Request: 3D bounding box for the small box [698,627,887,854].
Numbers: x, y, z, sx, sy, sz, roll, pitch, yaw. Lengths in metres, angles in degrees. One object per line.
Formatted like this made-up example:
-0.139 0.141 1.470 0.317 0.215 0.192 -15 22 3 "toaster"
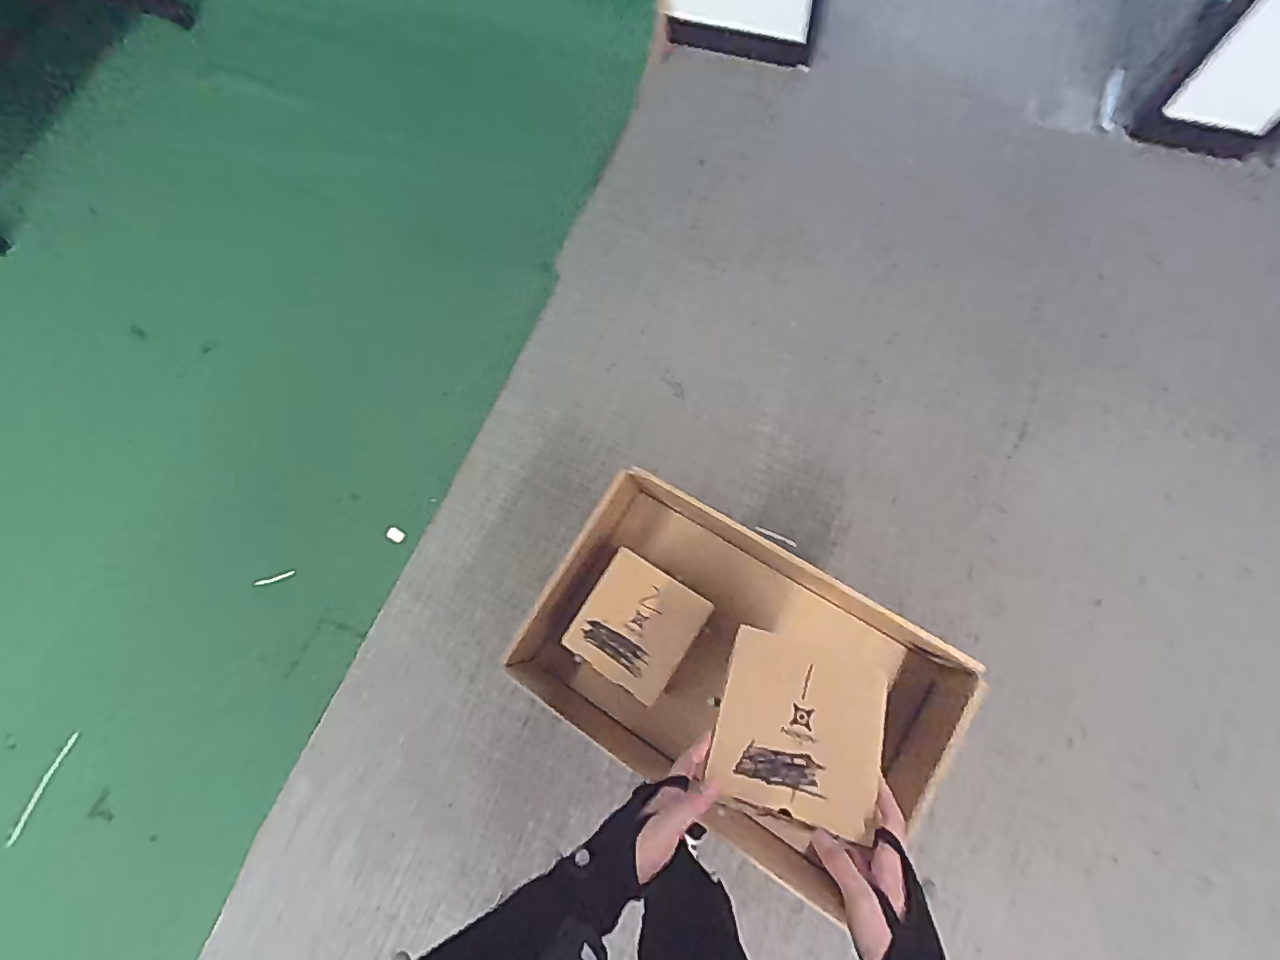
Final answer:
0.168 0.299 0.624 0.168 0.176 0.179 14 59 12 "small box"
